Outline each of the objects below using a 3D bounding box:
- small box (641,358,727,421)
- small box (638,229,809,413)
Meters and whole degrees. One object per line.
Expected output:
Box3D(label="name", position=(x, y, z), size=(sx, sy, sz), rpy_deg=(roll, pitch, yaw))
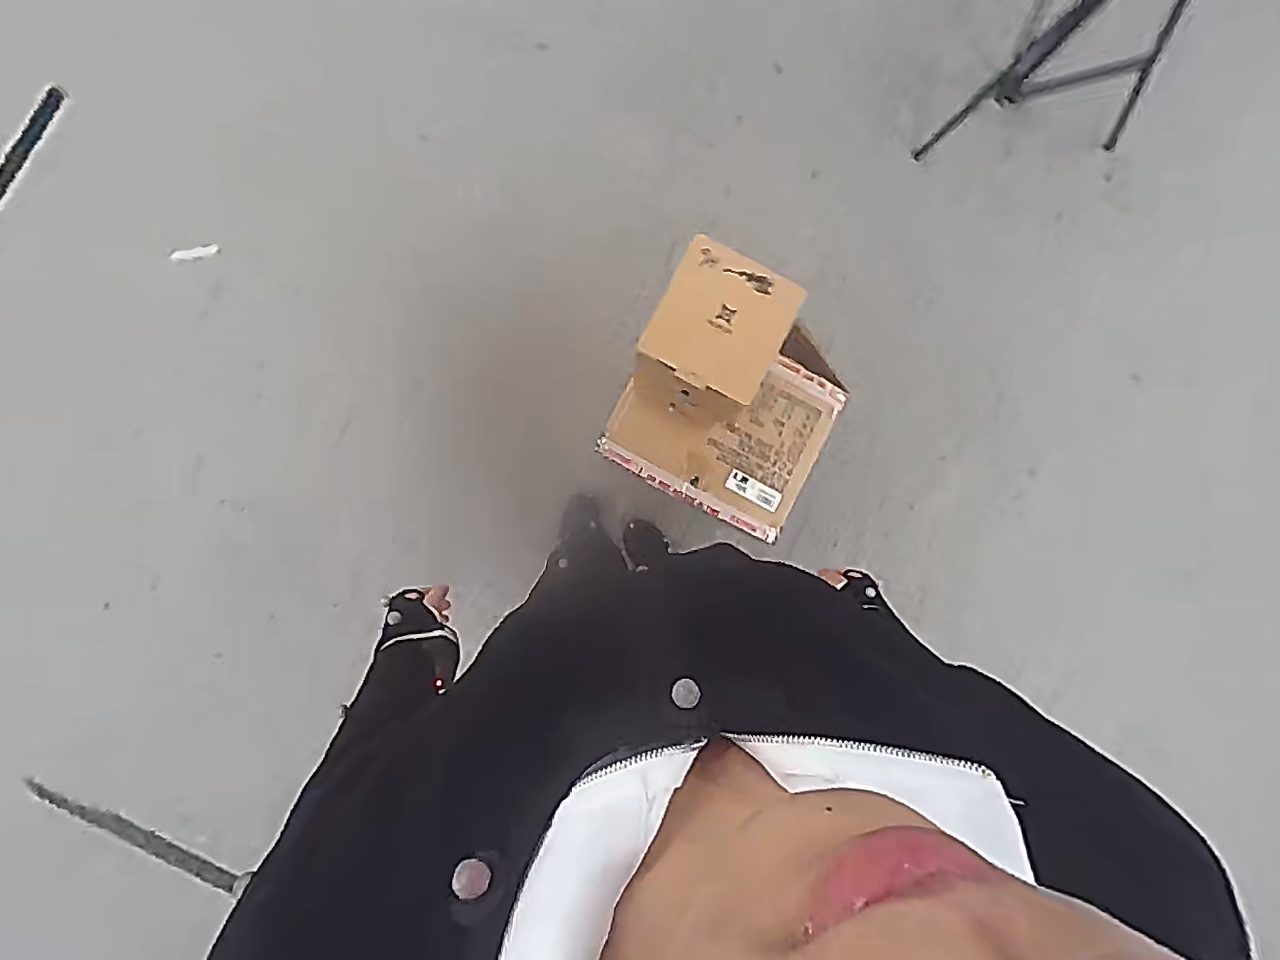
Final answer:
Box3D(label="small box", position=(0.108, -0.220, 0.942), size=(0.168, 0.176, 0.179), rpy_deg=(27, 90, 0))
Box3D(label="small box", position=(0.111, -0.211, 0.777), size=(0.168, 0.176, 0.179), rpy_deg=(28, 90, 0))
